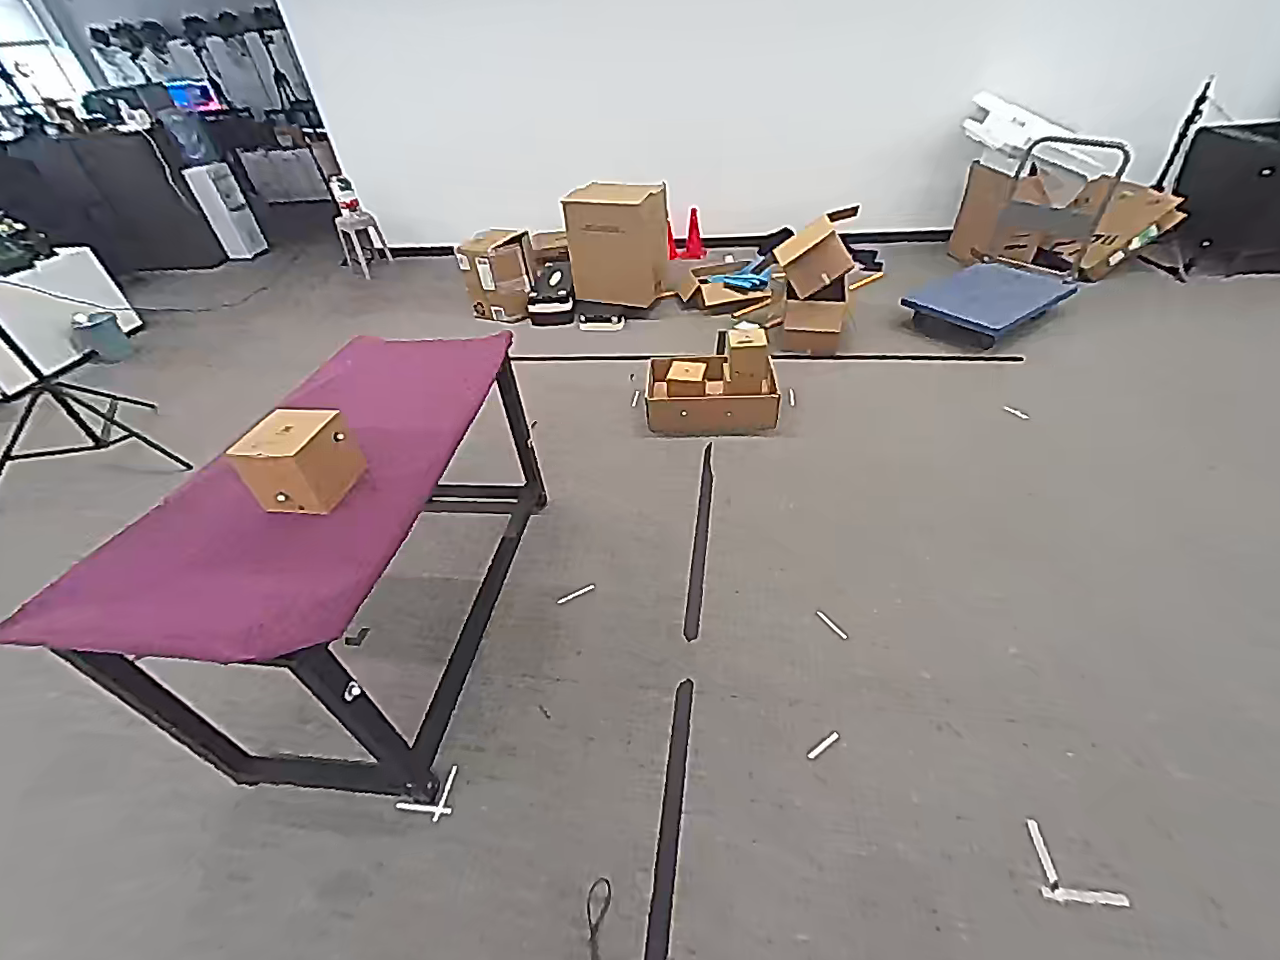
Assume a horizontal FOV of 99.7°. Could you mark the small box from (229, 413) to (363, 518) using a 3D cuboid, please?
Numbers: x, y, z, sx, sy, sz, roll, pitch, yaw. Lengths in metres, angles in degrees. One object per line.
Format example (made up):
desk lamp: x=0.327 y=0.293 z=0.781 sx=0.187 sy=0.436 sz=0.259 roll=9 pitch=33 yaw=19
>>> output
small box: x=-0.768 y=-0.037 z=1.237 sx=0.168 sy=0.176 sz=0.179 roll=2 pitch=41 yaw=10

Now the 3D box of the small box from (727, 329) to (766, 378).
small box: x=0.492 y=-0.582 z=2.514 sx=0.168 sy=0.176 sz=0.179 roll=-1 pitch=39 yaw=6

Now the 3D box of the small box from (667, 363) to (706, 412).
small box: x=0.228 y=-0.456 z=2.656 sx=0.168 sy=0.176 sz=0.179 roll=7 pitch=41 yaw=12
